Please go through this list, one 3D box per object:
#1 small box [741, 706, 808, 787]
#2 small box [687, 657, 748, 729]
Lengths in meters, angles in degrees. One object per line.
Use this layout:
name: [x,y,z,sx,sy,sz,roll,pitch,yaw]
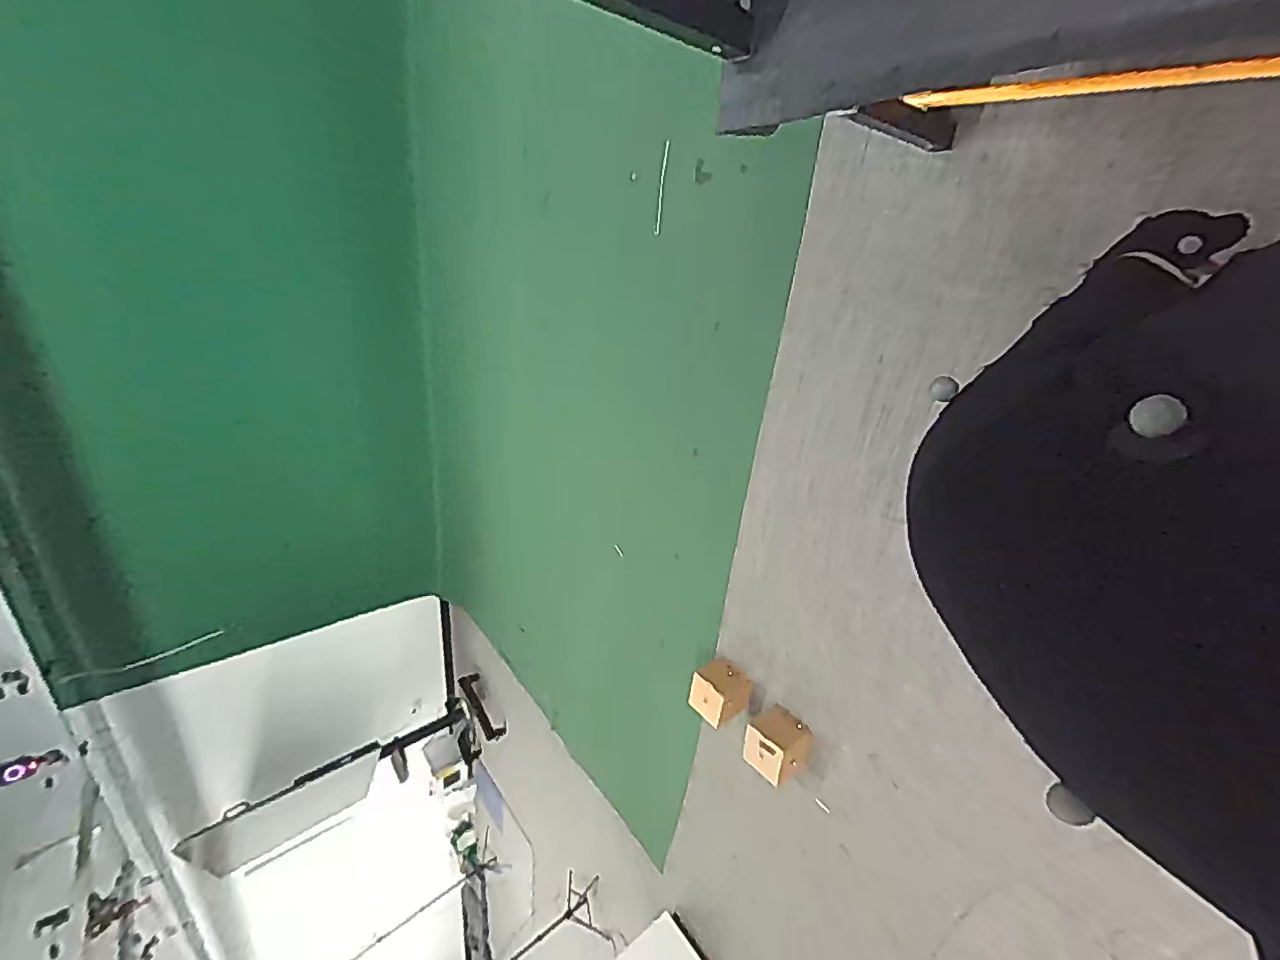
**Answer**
small box: [0.500,0.978,2.001,0.168,0.176,0.179,27,121,45]
small box: [0.317,0.860,2.197,0.168,0.176,0.179,30,123,42]
